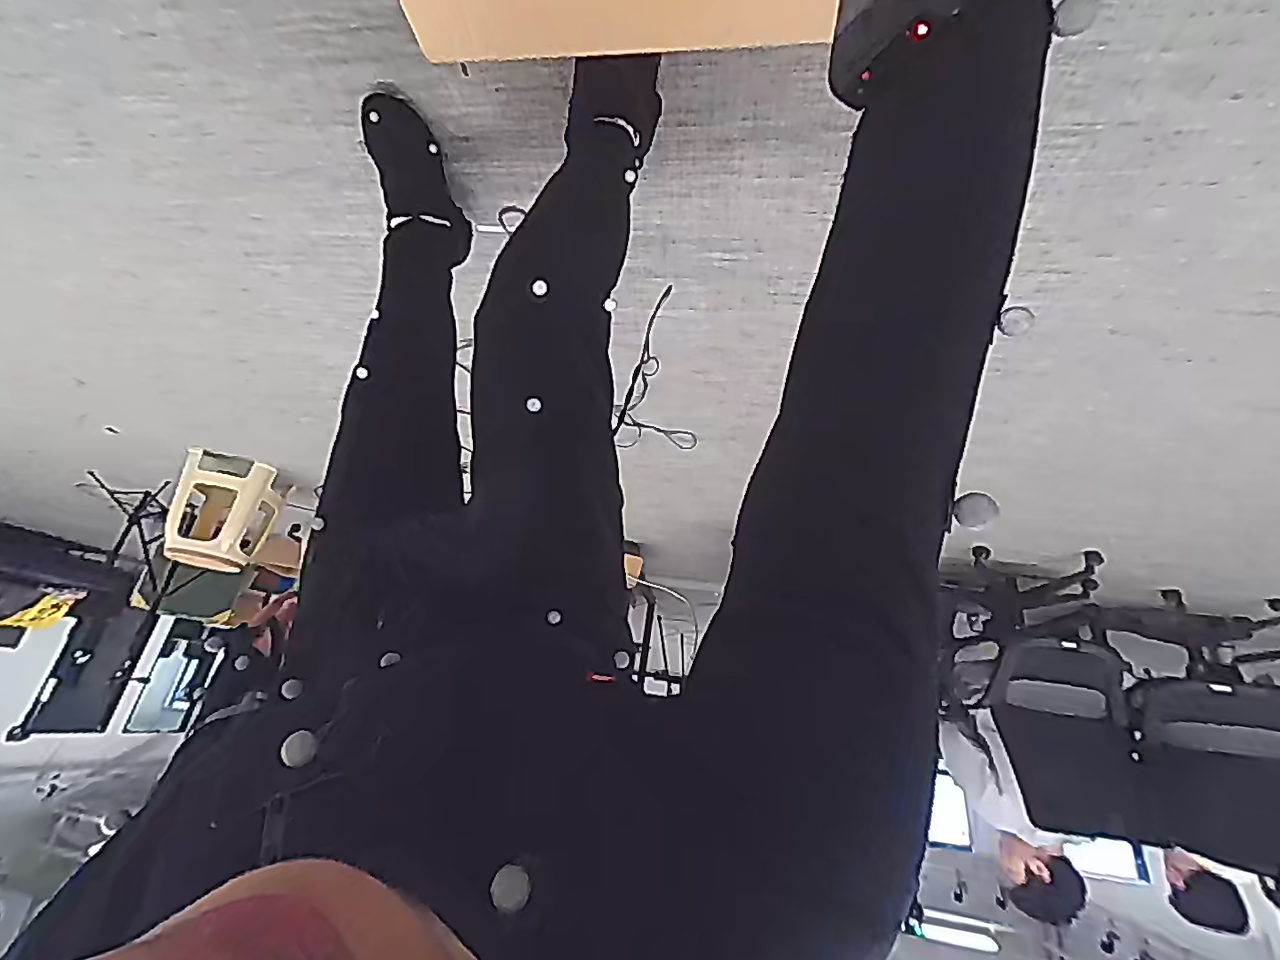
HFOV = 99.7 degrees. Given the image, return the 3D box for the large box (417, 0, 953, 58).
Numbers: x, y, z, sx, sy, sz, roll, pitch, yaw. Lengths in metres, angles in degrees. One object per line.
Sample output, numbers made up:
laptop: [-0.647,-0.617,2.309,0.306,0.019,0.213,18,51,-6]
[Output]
large box: [0.025,-0.543,0.347,0.408,0.320,0.320,3,156,9]
